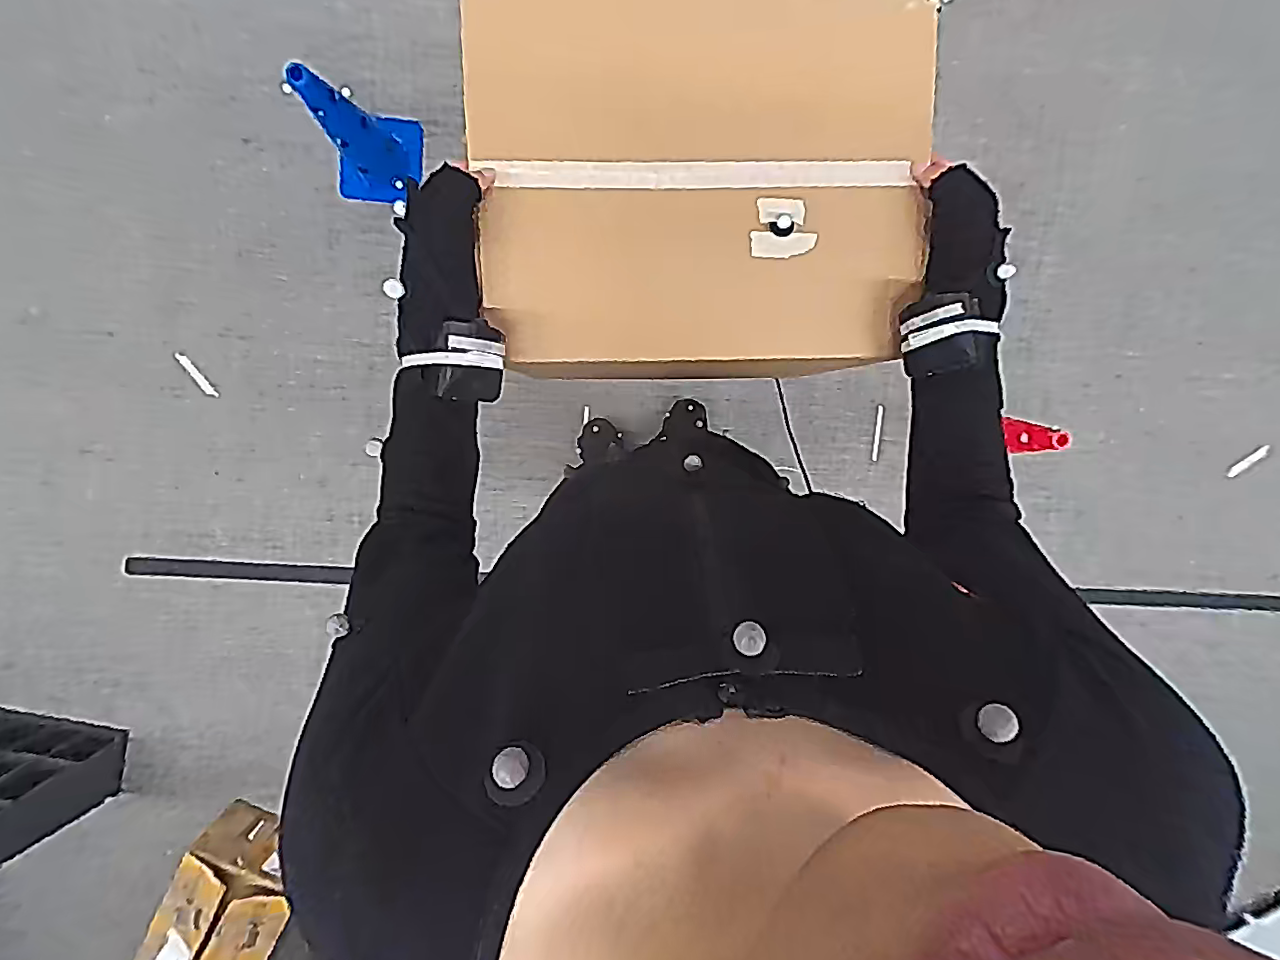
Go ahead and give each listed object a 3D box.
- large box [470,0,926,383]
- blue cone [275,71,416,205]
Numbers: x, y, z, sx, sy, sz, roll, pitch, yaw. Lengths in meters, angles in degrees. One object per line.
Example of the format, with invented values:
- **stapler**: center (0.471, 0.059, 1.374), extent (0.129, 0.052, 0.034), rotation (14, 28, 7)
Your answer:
- **large box**: center (0.048, -0.283, 0.627), extent (0.408, 0.320, 0.320), rotation (-1, 97, -4)
- **blue cone**: center (-0.651, -0.764, 1.183), extent (0.192, 0.380, 0.193), rotation (6, 98, -2)
